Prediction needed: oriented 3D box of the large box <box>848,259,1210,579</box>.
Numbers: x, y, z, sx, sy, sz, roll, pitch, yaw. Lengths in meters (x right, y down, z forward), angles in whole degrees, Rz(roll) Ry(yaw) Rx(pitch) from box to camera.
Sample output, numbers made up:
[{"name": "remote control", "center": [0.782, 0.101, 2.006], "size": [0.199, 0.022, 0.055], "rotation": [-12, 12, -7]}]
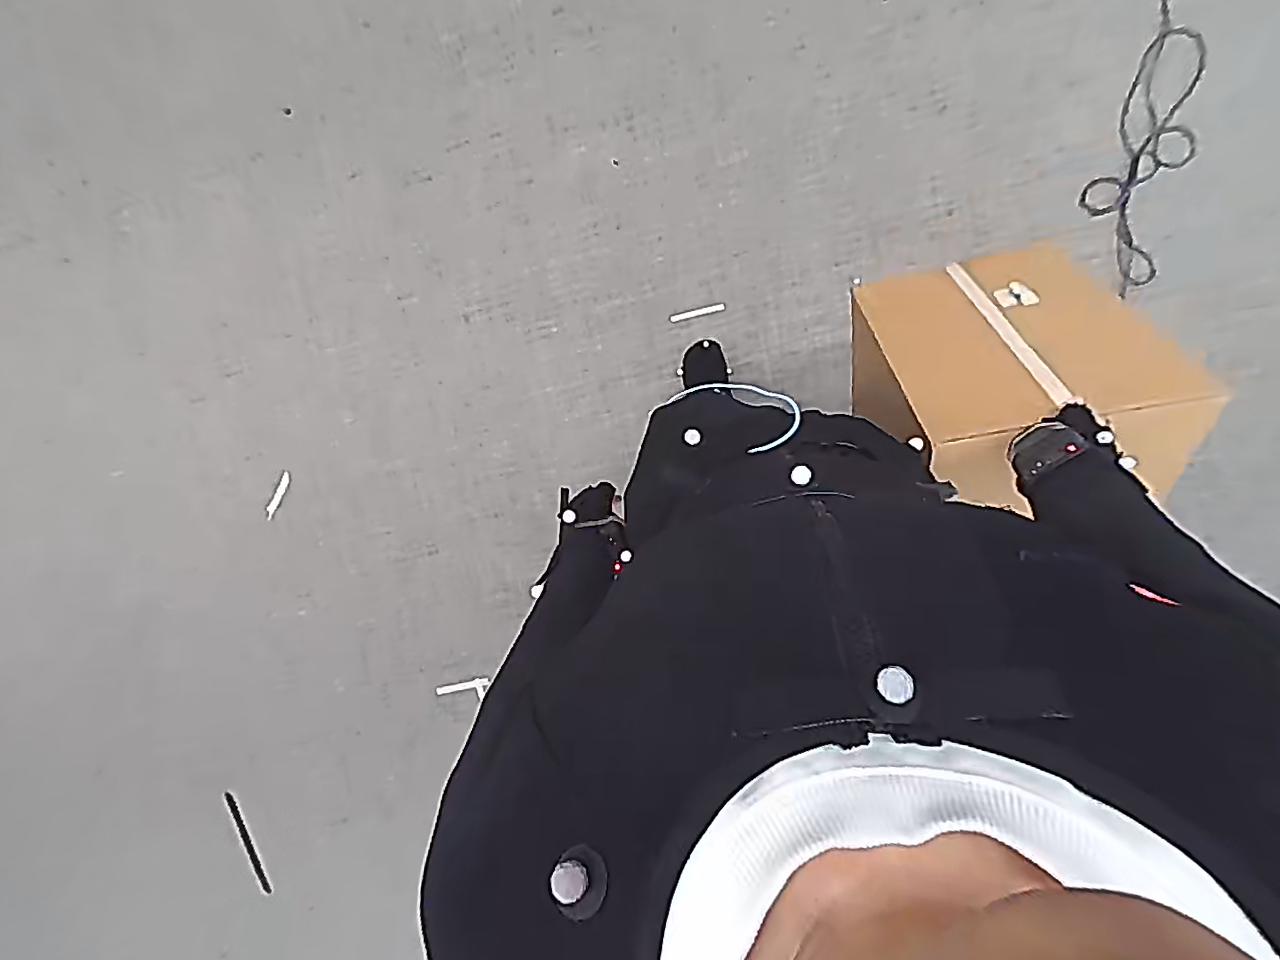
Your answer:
[{"name": "large box", "center": [0.553, -0.103, 0.888], "size": [0.320, 0.408, 0.320], "rotation": [-9, 133, 10]}]
